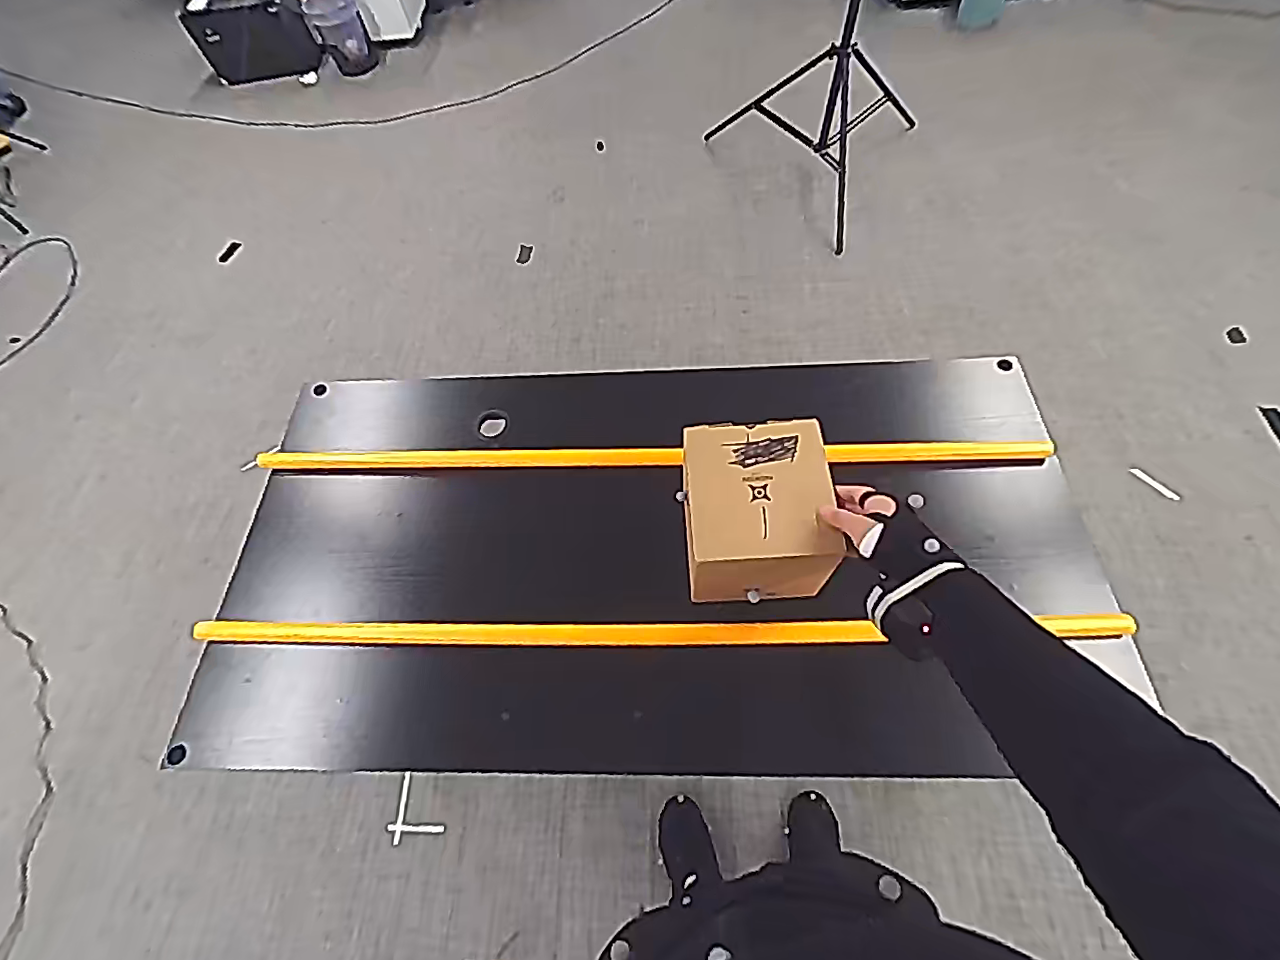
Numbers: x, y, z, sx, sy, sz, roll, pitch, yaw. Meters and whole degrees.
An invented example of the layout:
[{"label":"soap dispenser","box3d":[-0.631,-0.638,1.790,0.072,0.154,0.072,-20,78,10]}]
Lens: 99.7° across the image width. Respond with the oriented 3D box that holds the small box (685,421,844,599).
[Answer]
[{"label":"small box","box3d":[0.144,0.044,0.700,0.168,0.176,0.179,-4,62,3]}]
